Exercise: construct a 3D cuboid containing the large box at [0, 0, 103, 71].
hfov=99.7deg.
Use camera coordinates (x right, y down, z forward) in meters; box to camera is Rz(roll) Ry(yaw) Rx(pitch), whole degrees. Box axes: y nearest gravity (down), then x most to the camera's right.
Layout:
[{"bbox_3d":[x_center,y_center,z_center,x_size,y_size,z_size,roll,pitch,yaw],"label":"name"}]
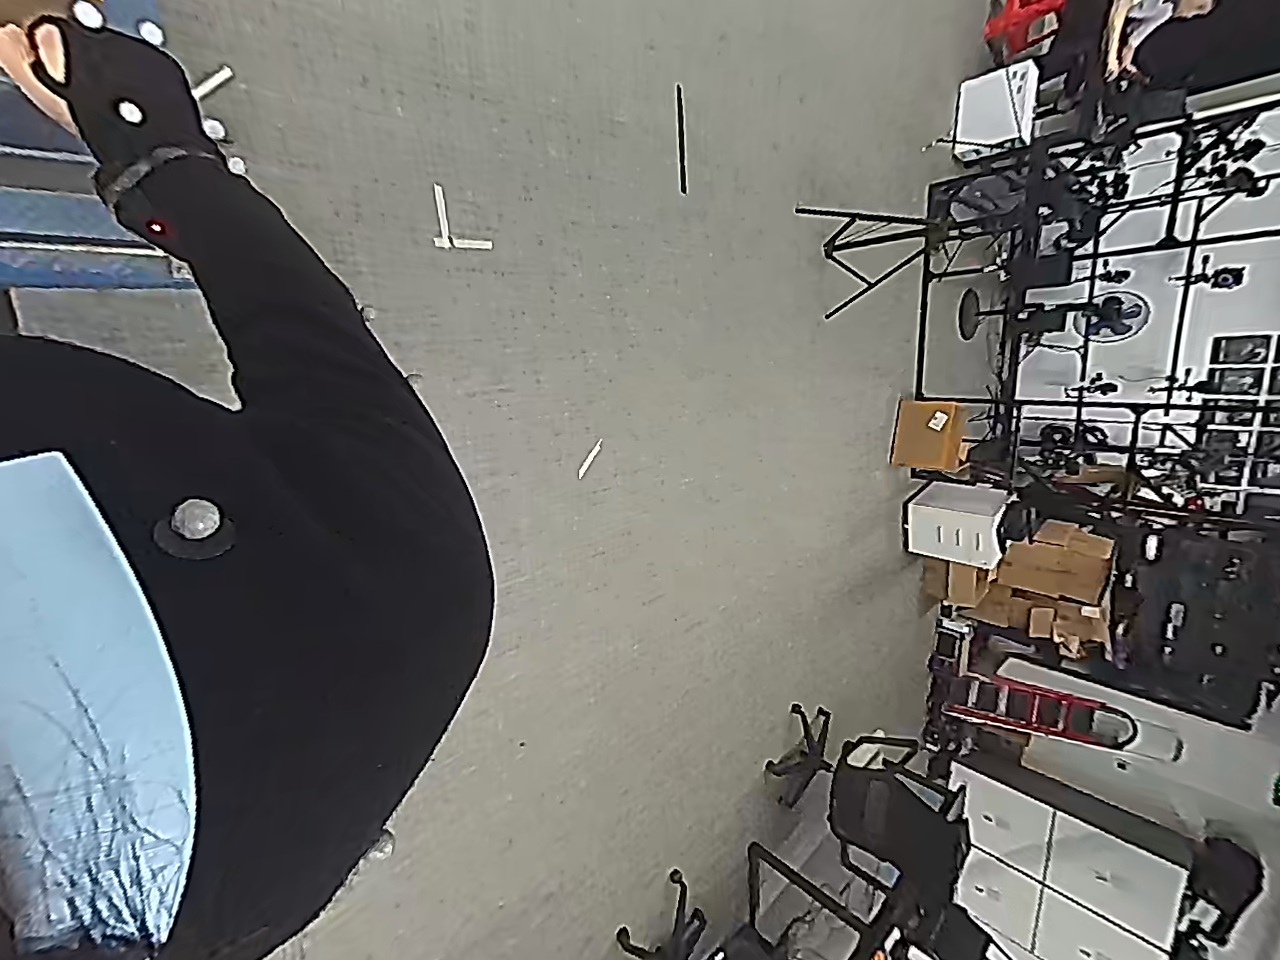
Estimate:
[{"bbox_3d":[-0.944,-0.764,0.630,0.408,0.320,0.320,-13,106,-41],"label":"large box"}]
